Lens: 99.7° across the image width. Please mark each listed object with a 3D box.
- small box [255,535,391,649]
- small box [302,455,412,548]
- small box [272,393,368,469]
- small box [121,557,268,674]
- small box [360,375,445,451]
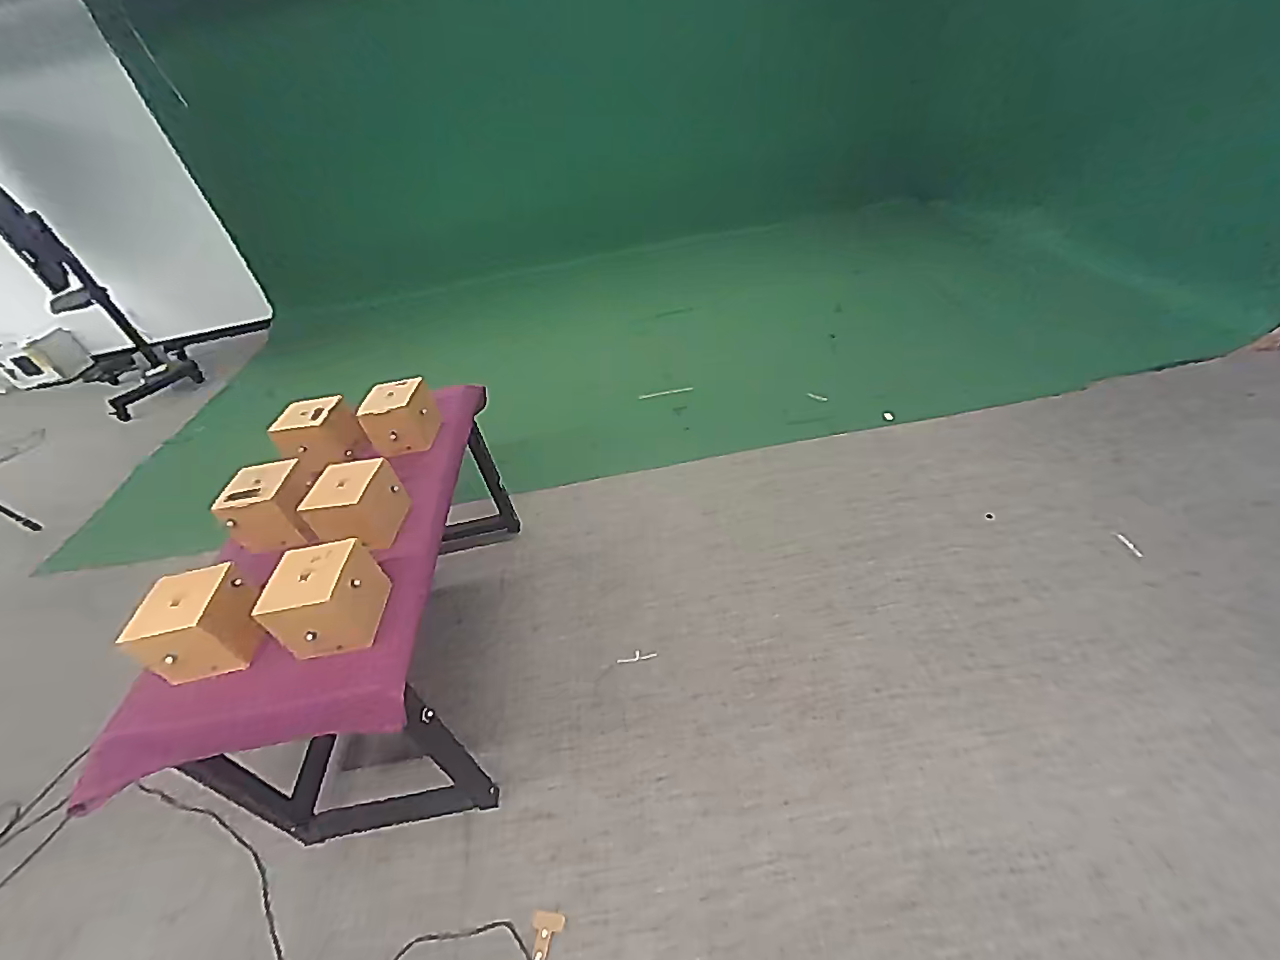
[{"bbox_3d":[-0.671,0.248,1.173,0.168,0.176,0.179,-10,40,4],"label":"small box"},{"bbox_3d":[-0.726,0.059,1.413,0.168,0.176,0.179,-6,41,9],"label":"small box"},{"bbox_3d":[-1.013,-0.154,1.730,0.179,0.176,0.168,-7,40,7],"label":"small box"},{"bbox_3d":[-0.950,0.303,1.185,0.168,0.176,0.179,-13,39,-1],"label":"small box"},{"bbox_3d":[-0.746,-0.207,1.724,0.168,0.176,0.179,-8,41,6],"label":"small box"}]
